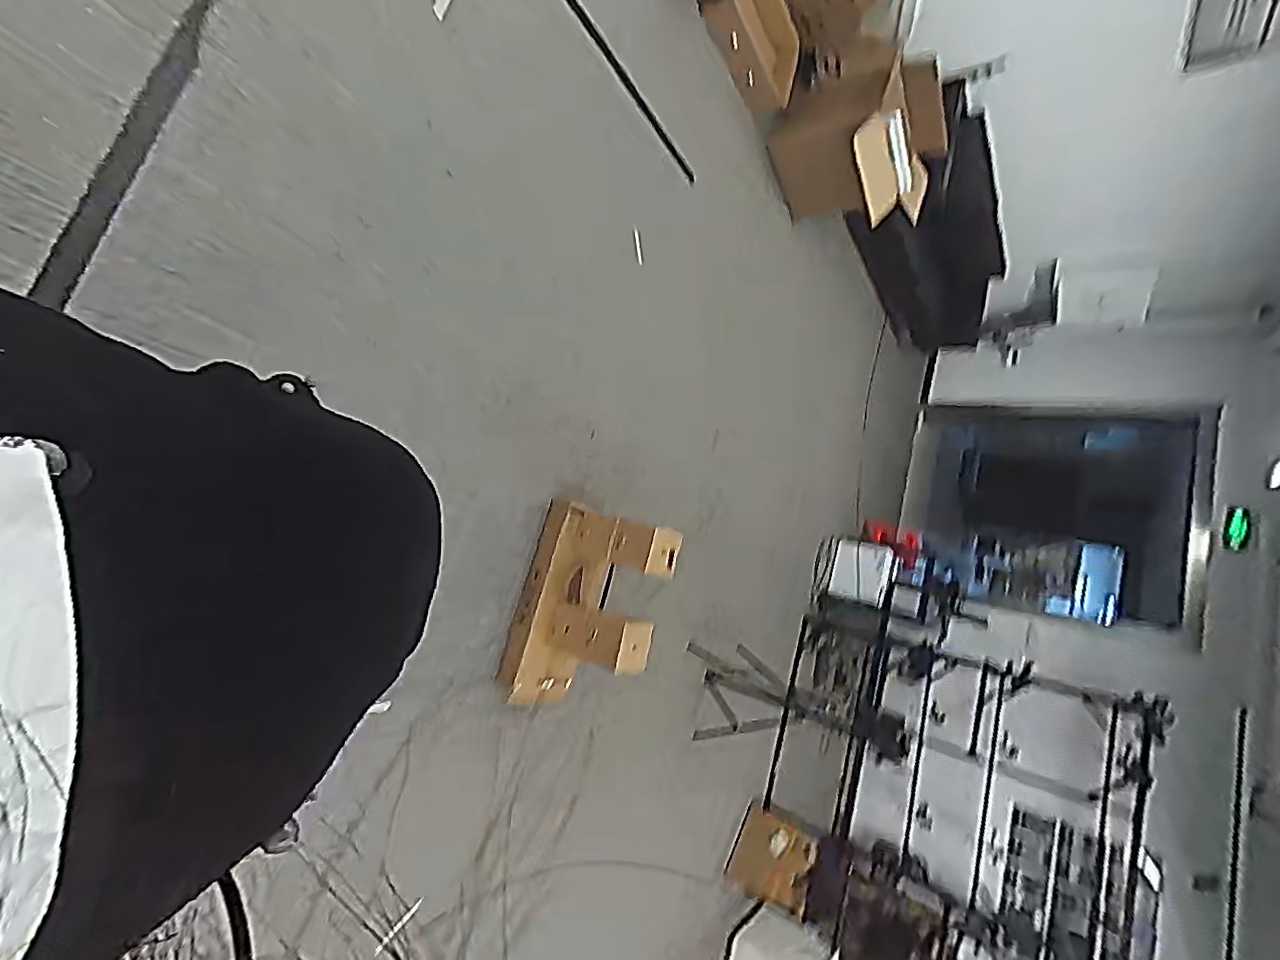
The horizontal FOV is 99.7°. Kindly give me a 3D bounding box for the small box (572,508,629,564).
[{"bbox_3d":[-0.126,0.211,2.061,0.179,0.176,0.168,27,75,-51],"label":"small box"}]

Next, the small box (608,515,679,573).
[{"bbox_3d":[0.011,0.232,1.973,0.179,0.176,0.168,24,78,-51],"label":"small box"}]

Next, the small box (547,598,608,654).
[{"bbox_3d":[-0.219,0.542,2.005,0.179,0.176,0.168,23,78,-51],"label":"small box"}]

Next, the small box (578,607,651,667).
[{"bbox_3d":[-0.088,0.551,1.907,0.179,0.176,0.168,20,79,-51],"label":"small box"}]
